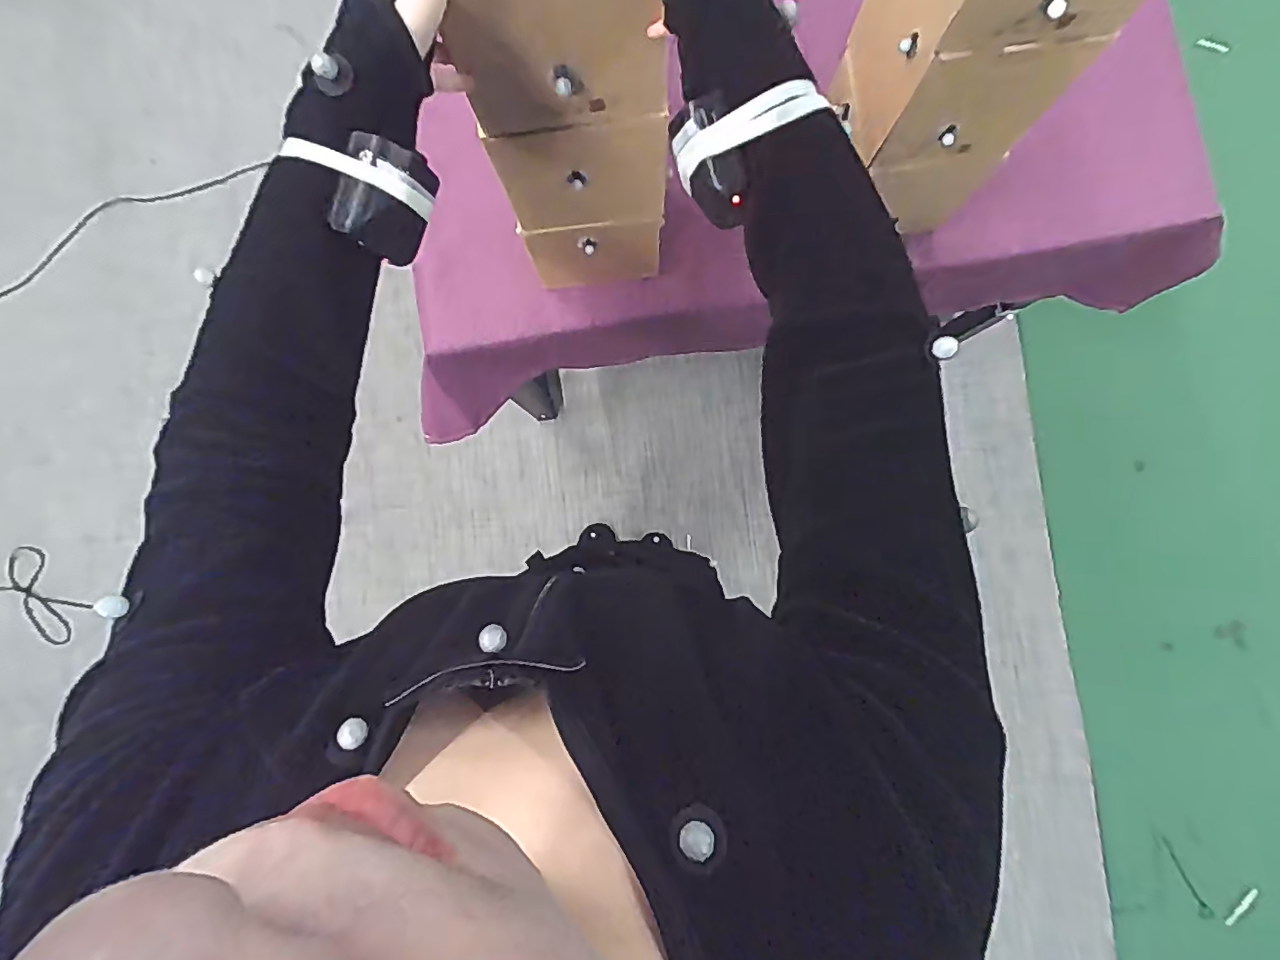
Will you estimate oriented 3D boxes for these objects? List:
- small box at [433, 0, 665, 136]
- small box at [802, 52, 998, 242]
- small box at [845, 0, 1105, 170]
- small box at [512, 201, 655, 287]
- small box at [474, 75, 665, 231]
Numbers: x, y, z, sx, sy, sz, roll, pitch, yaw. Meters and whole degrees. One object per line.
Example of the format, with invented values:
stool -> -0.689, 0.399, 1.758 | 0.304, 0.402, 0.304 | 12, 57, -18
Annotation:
small box -> -0.073, -0.410, 0.416 | 0.168, 0.176, 0.179 | -7, 88, 0
small box -> 0.341, -0.452, 0.741 | 0.179, 0.176, 0.168 | -7, 86, 0
small box -> 0.336, -0.473, 0.579 | 0.168, 0.176, 0.179 | -7, 87, 1
small box -> -0.074, -0.380, 0.743 | 0.179, 0.176, 0.168 | -6, 87, 0
small box -> -0.070, -0.394, 0.580 | 0.179, 0.176, 0.168 | -7, 87, 2
